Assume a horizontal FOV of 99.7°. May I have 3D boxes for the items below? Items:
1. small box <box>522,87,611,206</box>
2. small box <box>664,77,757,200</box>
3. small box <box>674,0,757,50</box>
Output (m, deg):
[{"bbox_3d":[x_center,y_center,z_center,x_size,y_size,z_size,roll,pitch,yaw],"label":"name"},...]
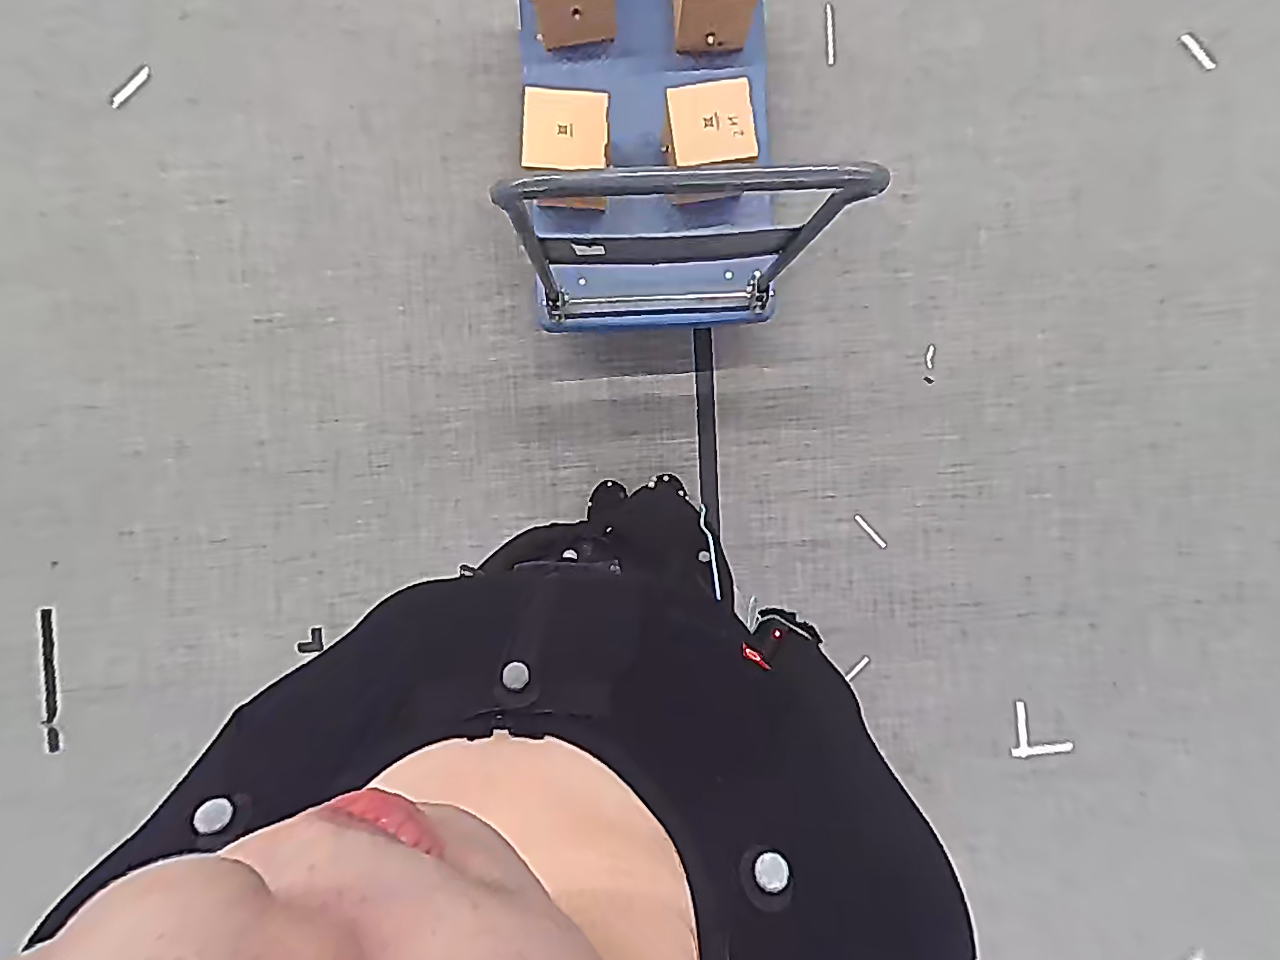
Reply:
[{"bbox_3d":[-0.157,-0.734,1.207,0.179,0.176,0.168,3,91,-3],"label":"small box"},{"bbox_3d":[0.149,-0.752,1.211,0.179,0.176,0.168,-8,92,-1],"label":"small box"},{"bbox_3d":[0.163,-1.104,1.197,0.168,0.176,0.179,-3,93,0],"label":"small box"}]
